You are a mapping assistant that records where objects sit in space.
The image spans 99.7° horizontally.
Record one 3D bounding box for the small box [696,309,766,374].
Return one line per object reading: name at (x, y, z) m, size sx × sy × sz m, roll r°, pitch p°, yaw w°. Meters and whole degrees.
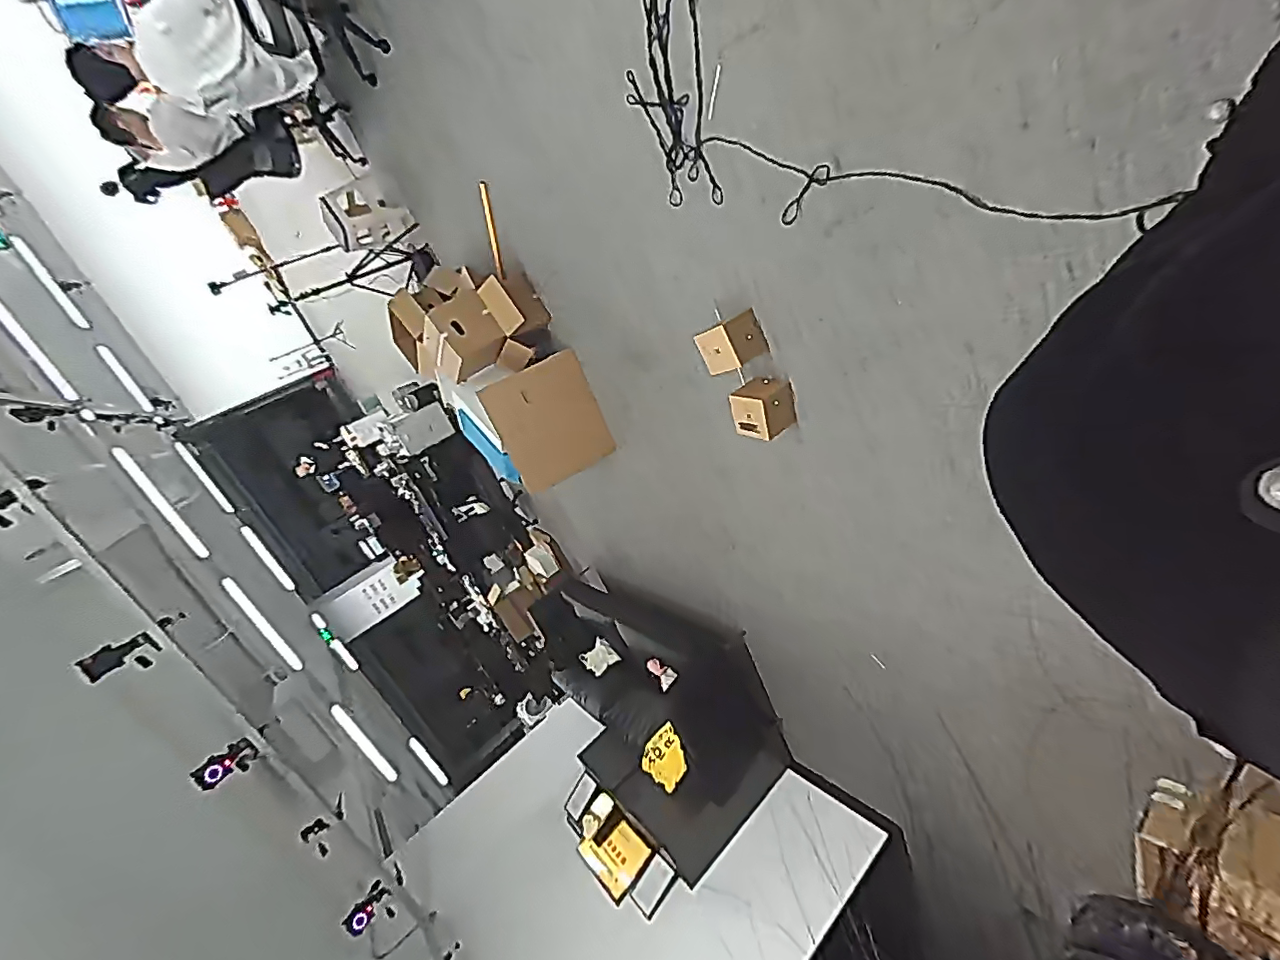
small box at (0.349, -0.520, 2.026) m, size 0.179 × 0.176 × 0.168 m, roll -2°, pitch 120°, yaw 60°
